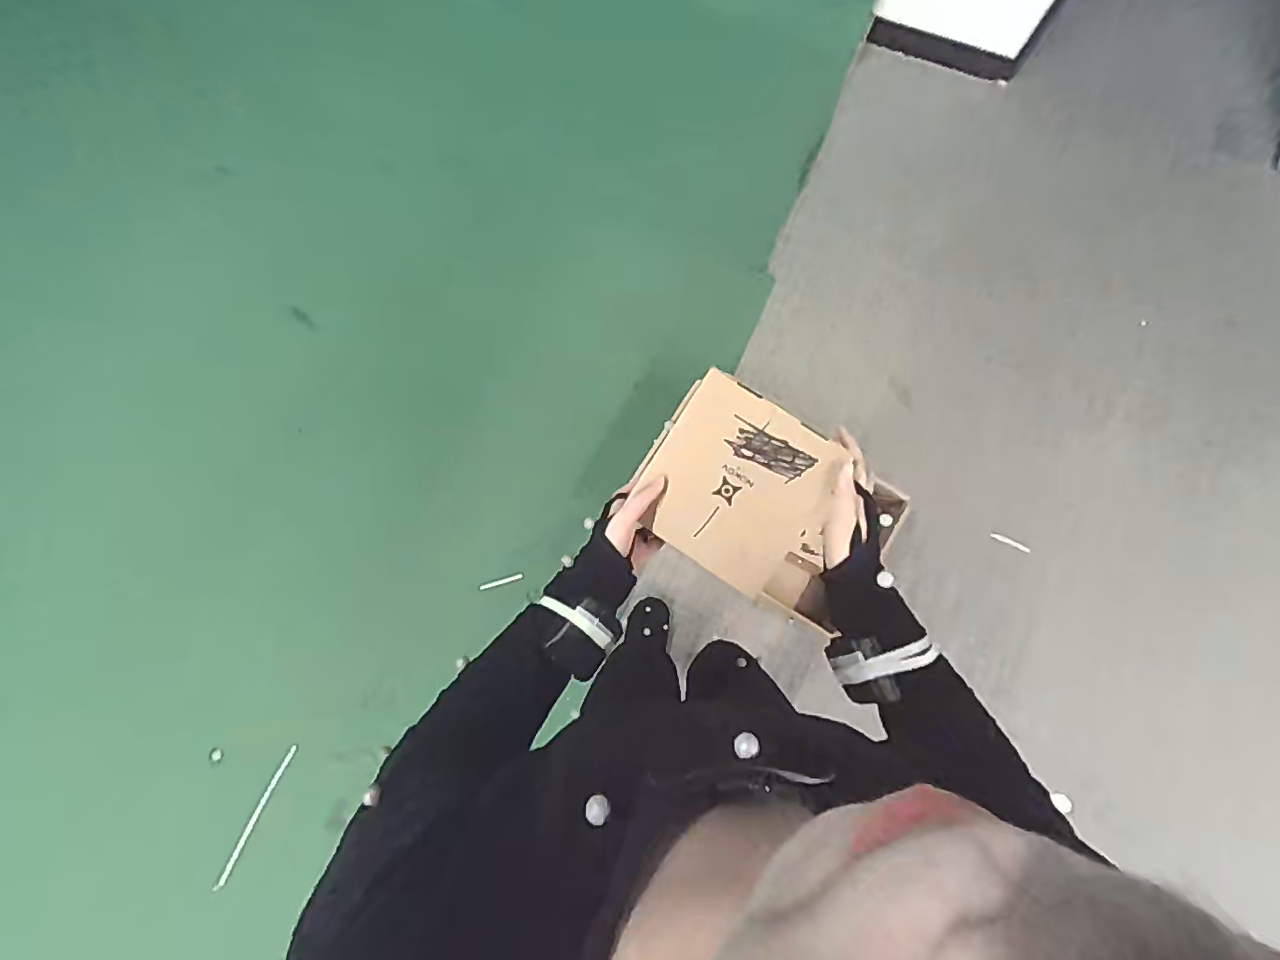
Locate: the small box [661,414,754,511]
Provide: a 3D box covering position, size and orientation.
[{"bbox_3d":[0.170,-0.038,1.404,0.168,0.176,0.179,34,82,6],"label":"small box"}]
